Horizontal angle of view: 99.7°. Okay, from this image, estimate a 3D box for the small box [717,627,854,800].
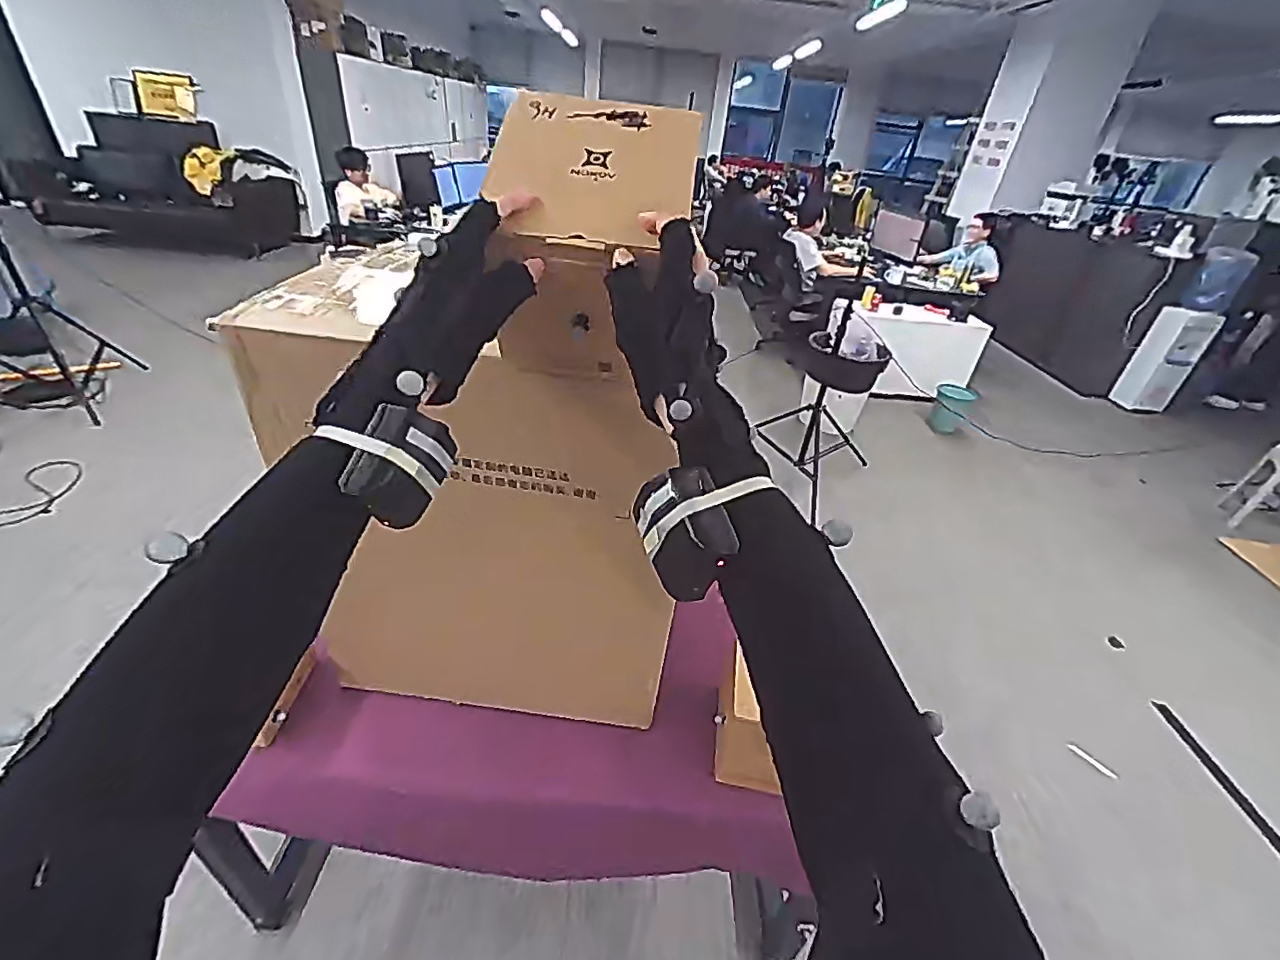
[{"bbox_3d":[0.219,0.366,0.852,0.168,0.176,0.179,10,32,5],"label":"small box"}]
